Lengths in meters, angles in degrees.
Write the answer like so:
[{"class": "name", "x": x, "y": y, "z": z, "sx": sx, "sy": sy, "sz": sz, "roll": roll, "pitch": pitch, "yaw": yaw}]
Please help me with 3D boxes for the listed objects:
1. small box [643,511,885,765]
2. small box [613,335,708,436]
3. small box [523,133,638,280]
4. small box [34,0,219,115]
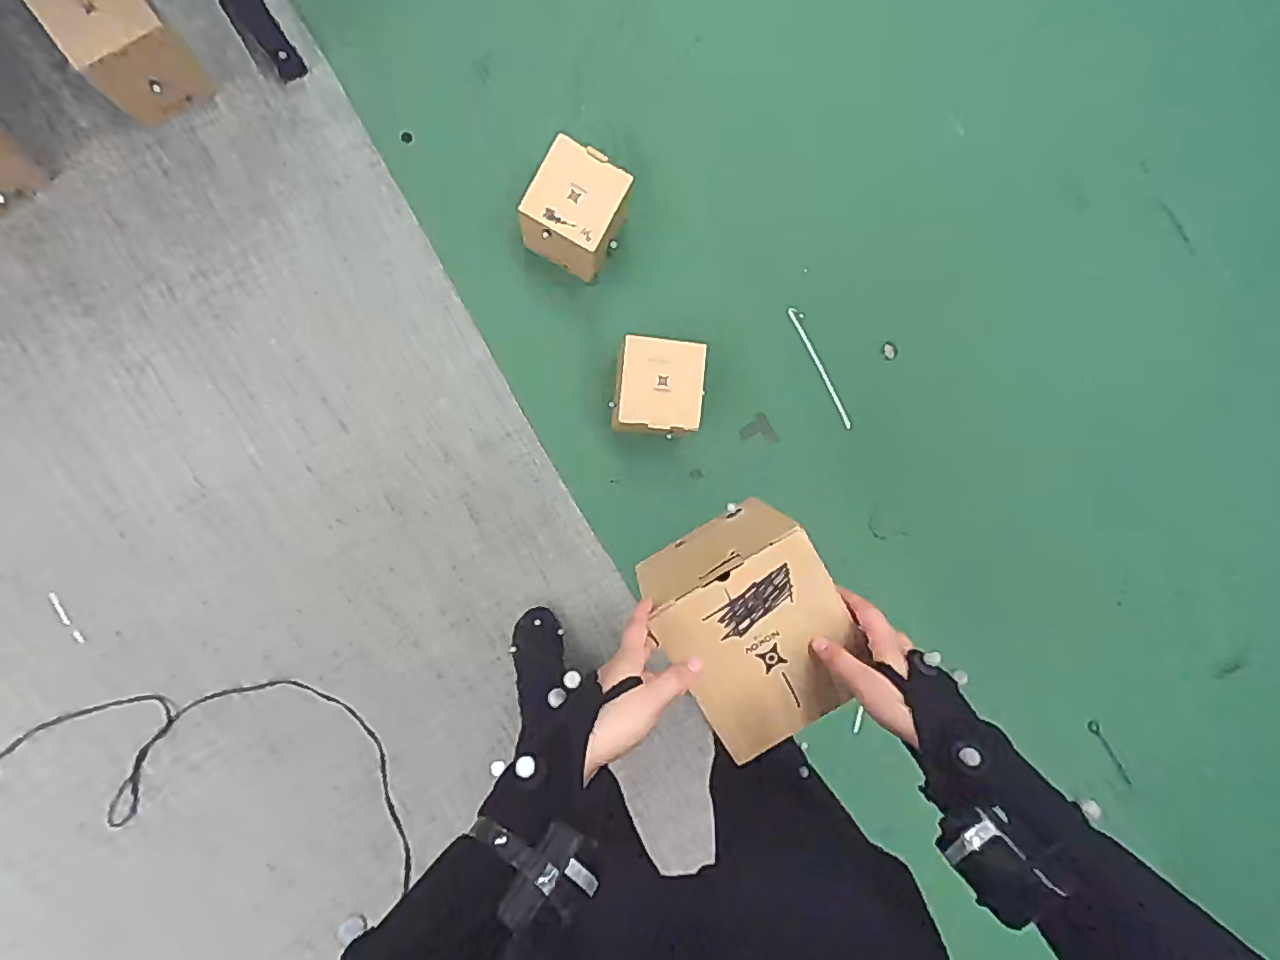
[{"class": "small box", "x": 0.114, "y": 0.147, "z": 0.577, "sx": 0.168, "sy": 0.176, "sz": 0.179, "roll": -31, "pitch": 100, "yaw": 2}, {"class": "small box", "x": 0.036, "y": -0.189, "z": 1.140, "sx": 0.168, "sy": 0.176, "sz": 0.179, "roll": 5, "pitch": 90, "yaw": -8}, {"class": "small box", "x": -0.124, "y": -0.551, "z": 1.114, "sx": 0.168, "sy": 0.176, "sz": 0.179, "roll": 29, "pitch": 87, "yaw": -7}, {"class": "small box", "x": -0.945, "y": -0.825, "z": 1.002, "sx": 0.168, "sy": 0.176, "sz": 0.179, "roll": -34, "pitch": 95, "yaw": -6}]
